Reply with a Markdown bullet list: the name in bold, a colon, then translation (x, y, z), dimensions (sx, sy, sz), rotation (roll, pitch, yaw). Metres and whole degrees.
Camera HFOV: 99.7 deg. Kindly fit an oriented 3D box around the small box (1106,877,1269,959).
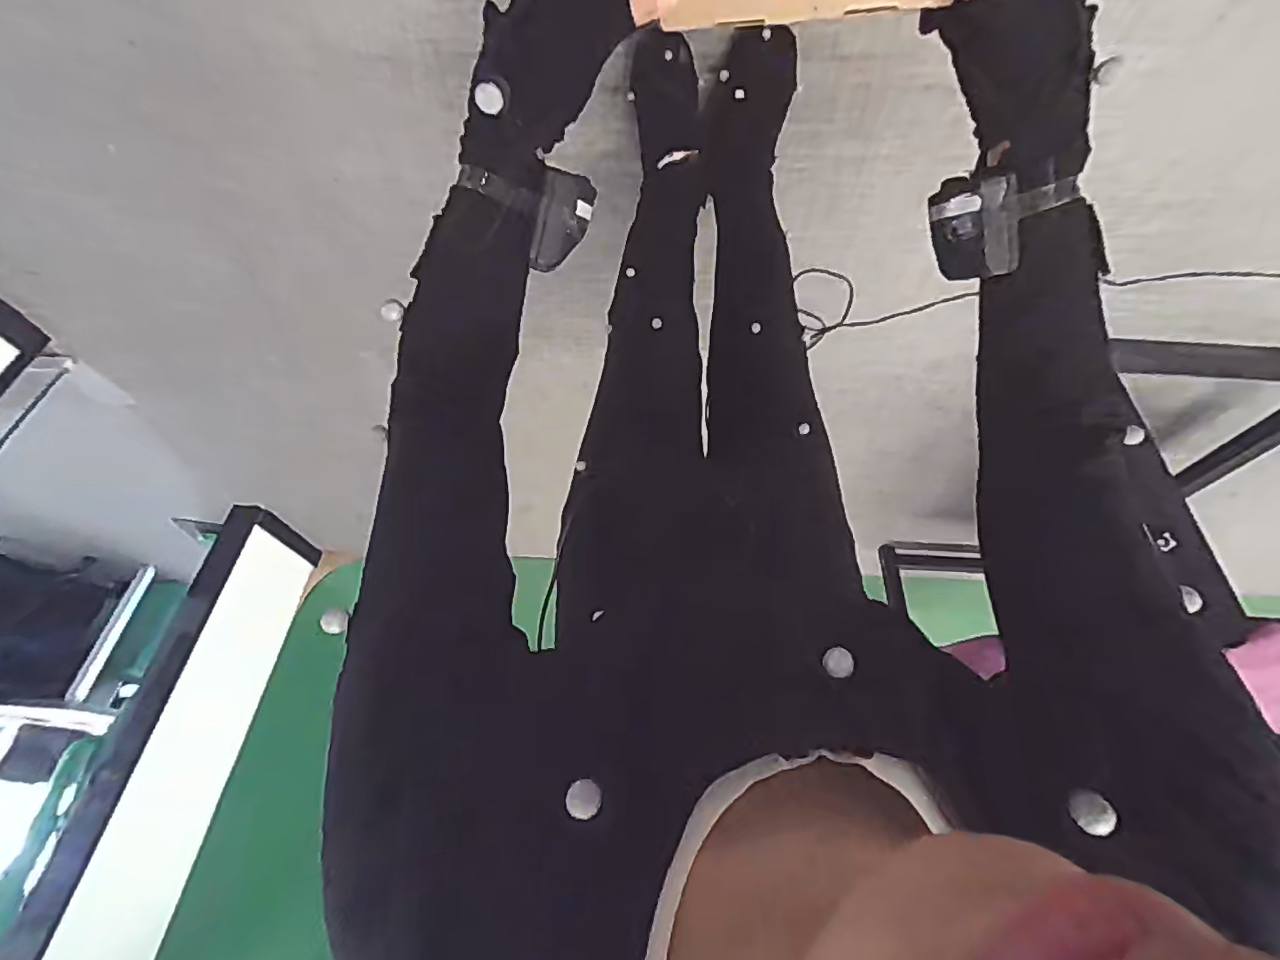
- **small box**: translation (1.145, 0.943, 1.128), dimensions (0.179, 0.176, 0.168), rotation (5, 147, -3)
